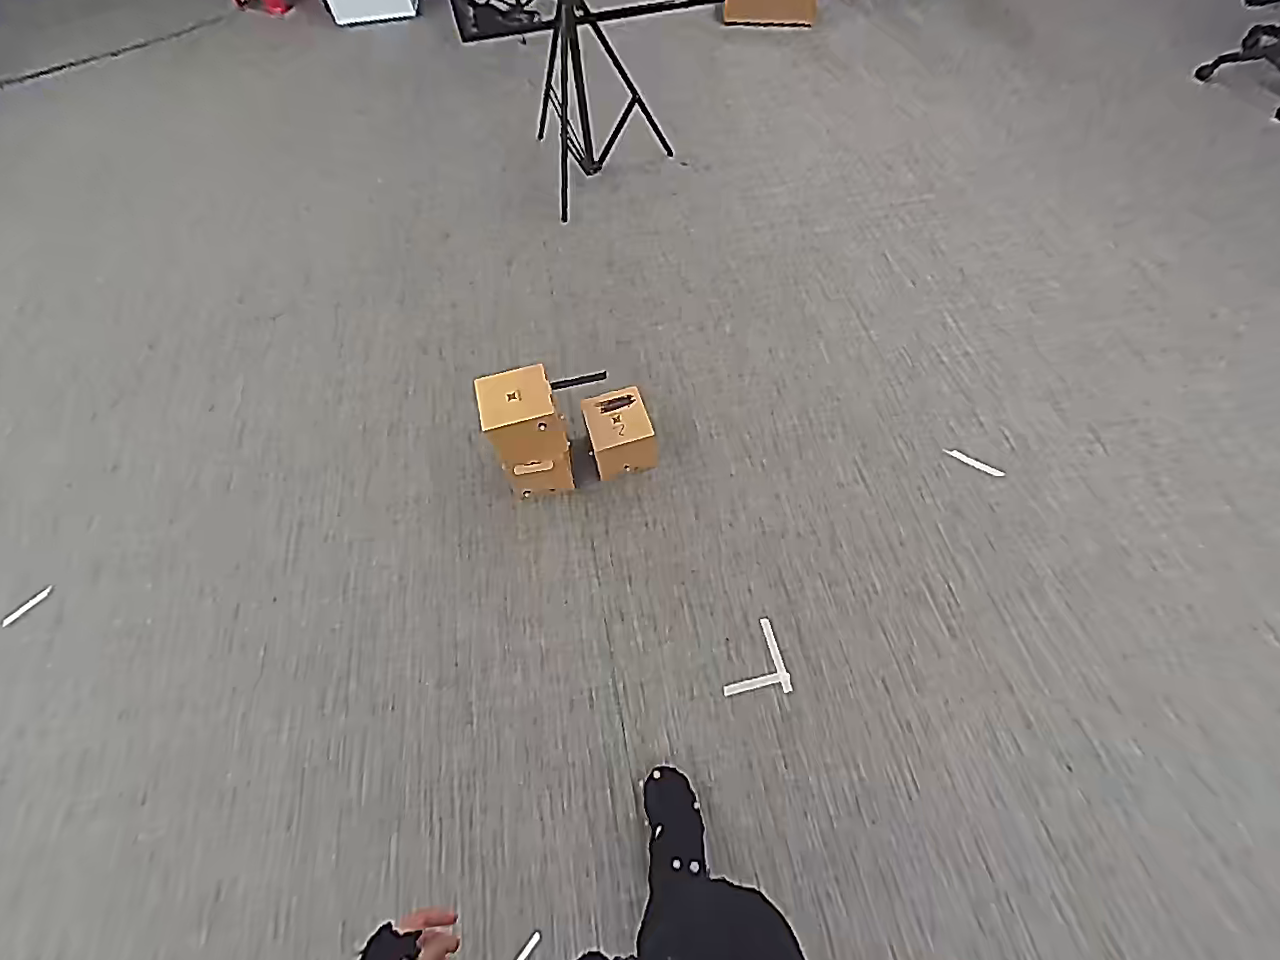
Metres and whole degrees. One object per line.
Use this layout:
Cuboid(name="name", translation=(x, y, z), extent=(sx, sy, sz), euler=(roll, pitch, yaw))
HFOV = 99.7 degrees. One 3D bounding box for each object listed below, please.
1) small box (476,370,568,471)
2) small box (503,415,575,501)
Cuboid(name="small box", translation=(-0.294, -0.143, 1.365), extent=(0.179, 0.176, 0.168), euler=(-16, 60, -5))
Cuboid(name="small box", translation=(-0.279, -0.056, 1.501), extent=(0.168, 0.176, 0.179), euler=(-10, 59, -1))
